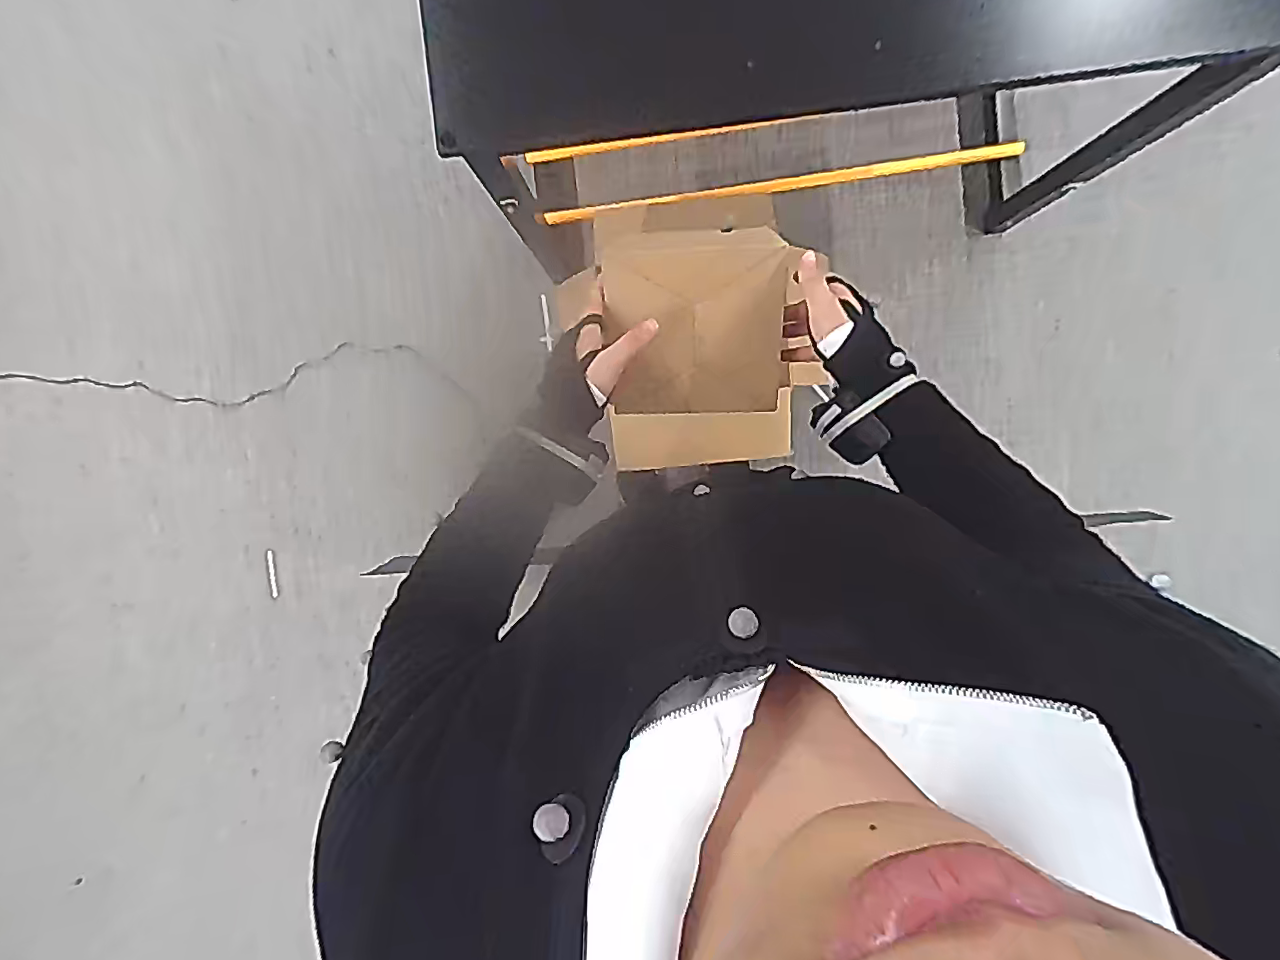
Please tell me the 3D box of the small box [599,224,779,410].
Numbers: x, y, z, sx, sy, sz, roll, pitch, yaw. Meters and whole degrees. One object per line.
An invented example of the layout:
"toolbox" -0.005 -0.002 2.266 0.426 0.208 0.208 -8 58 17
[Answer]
"small box" 0.059 -0.186 0.609 0.179 0.176 0.168 0 120 6
